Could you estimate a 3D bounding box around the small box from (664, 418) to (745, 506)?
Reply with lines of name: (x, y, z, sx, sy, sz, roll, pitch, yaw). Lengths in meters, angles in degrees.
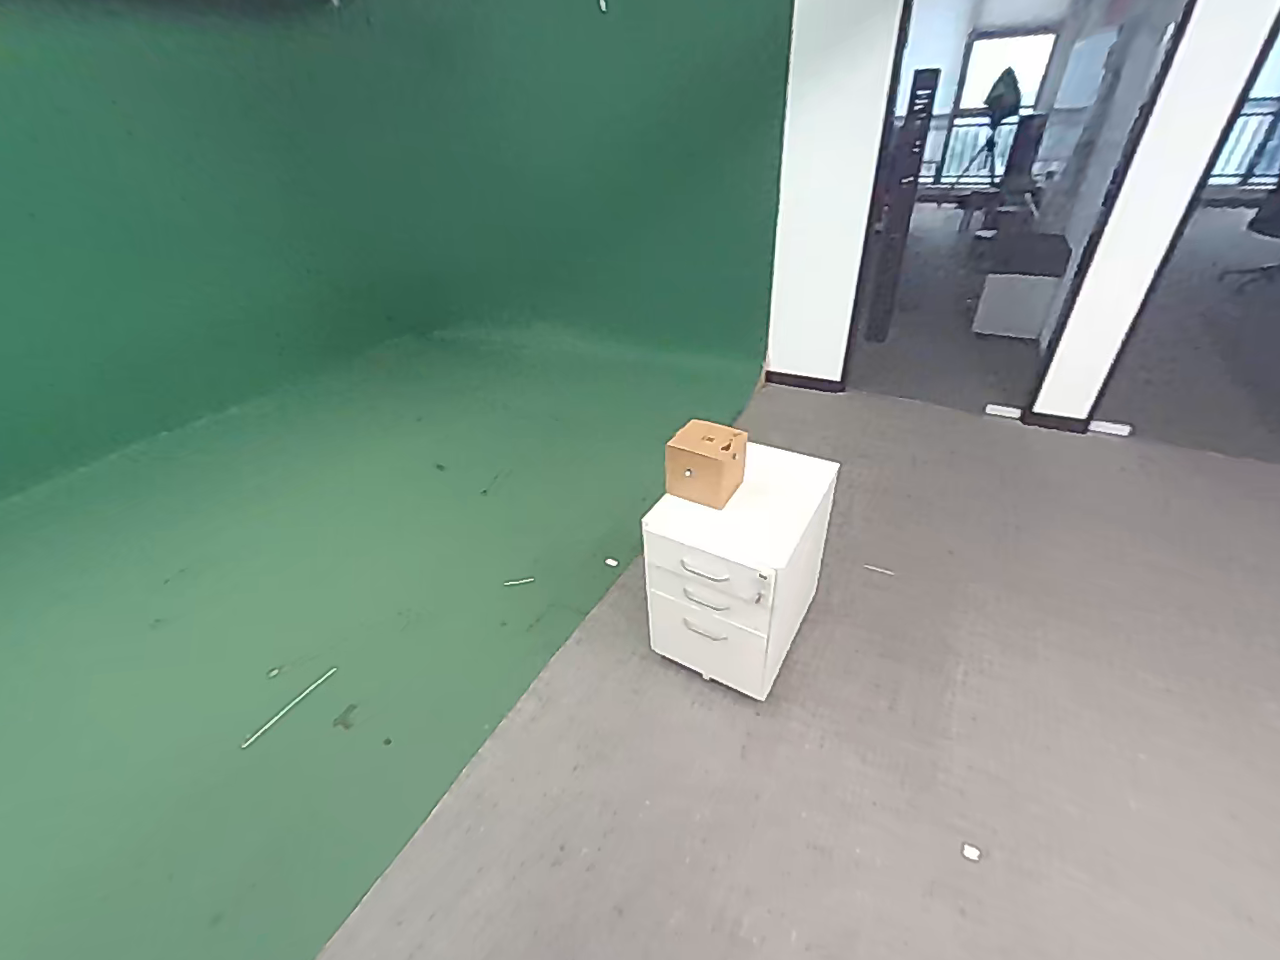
small box: (0.181, -0.050, 1.525, 0.179, 0.176, 0.168, 17, 41, 26)
